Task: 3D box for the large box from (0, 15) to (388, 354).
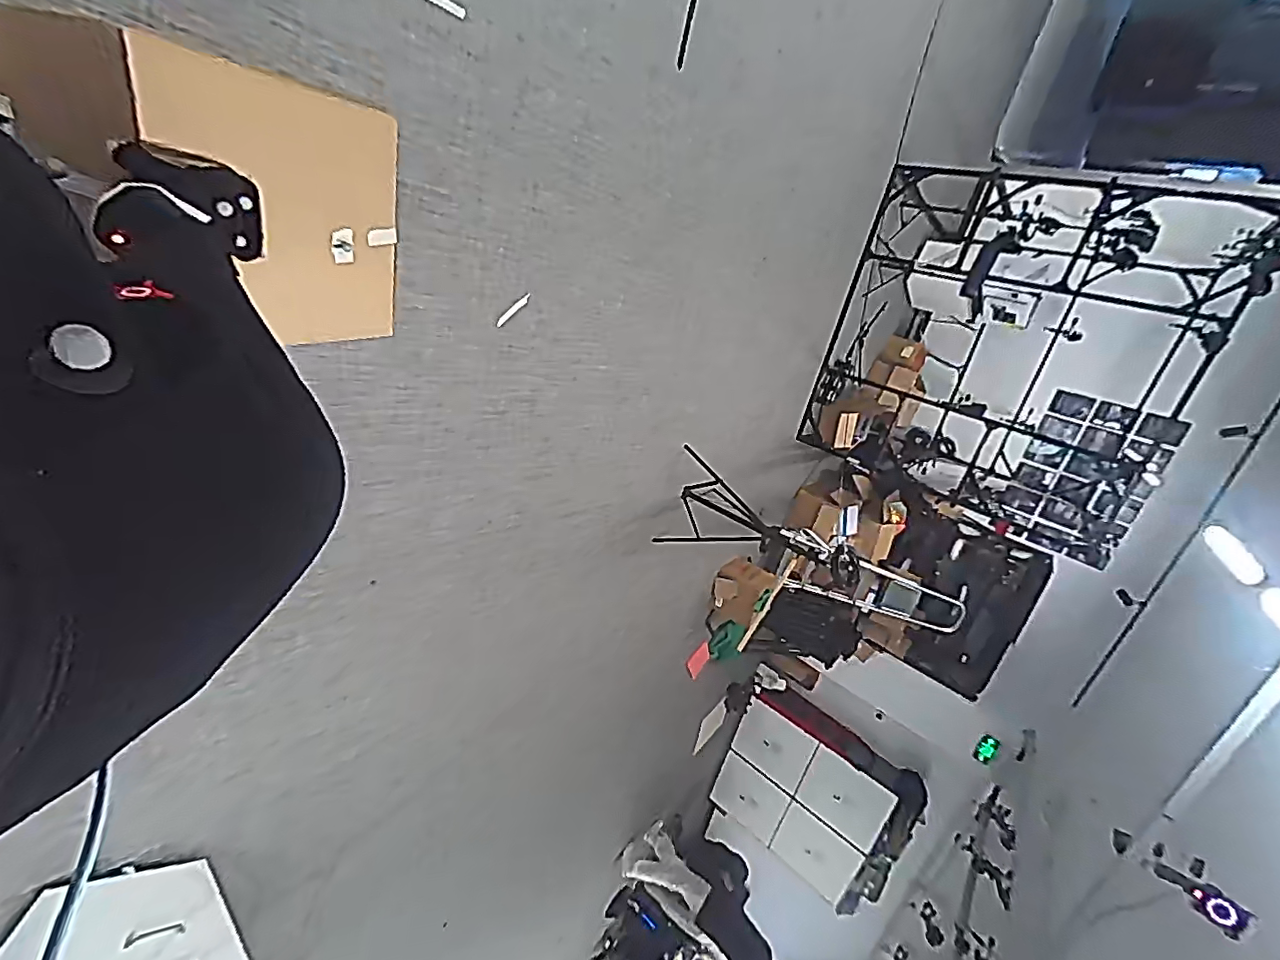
[{"bbox_3d":[-0.619,-0.395,0.758,0.320,0.408,0.320,-33,142,-58],"label":"large box"}]
